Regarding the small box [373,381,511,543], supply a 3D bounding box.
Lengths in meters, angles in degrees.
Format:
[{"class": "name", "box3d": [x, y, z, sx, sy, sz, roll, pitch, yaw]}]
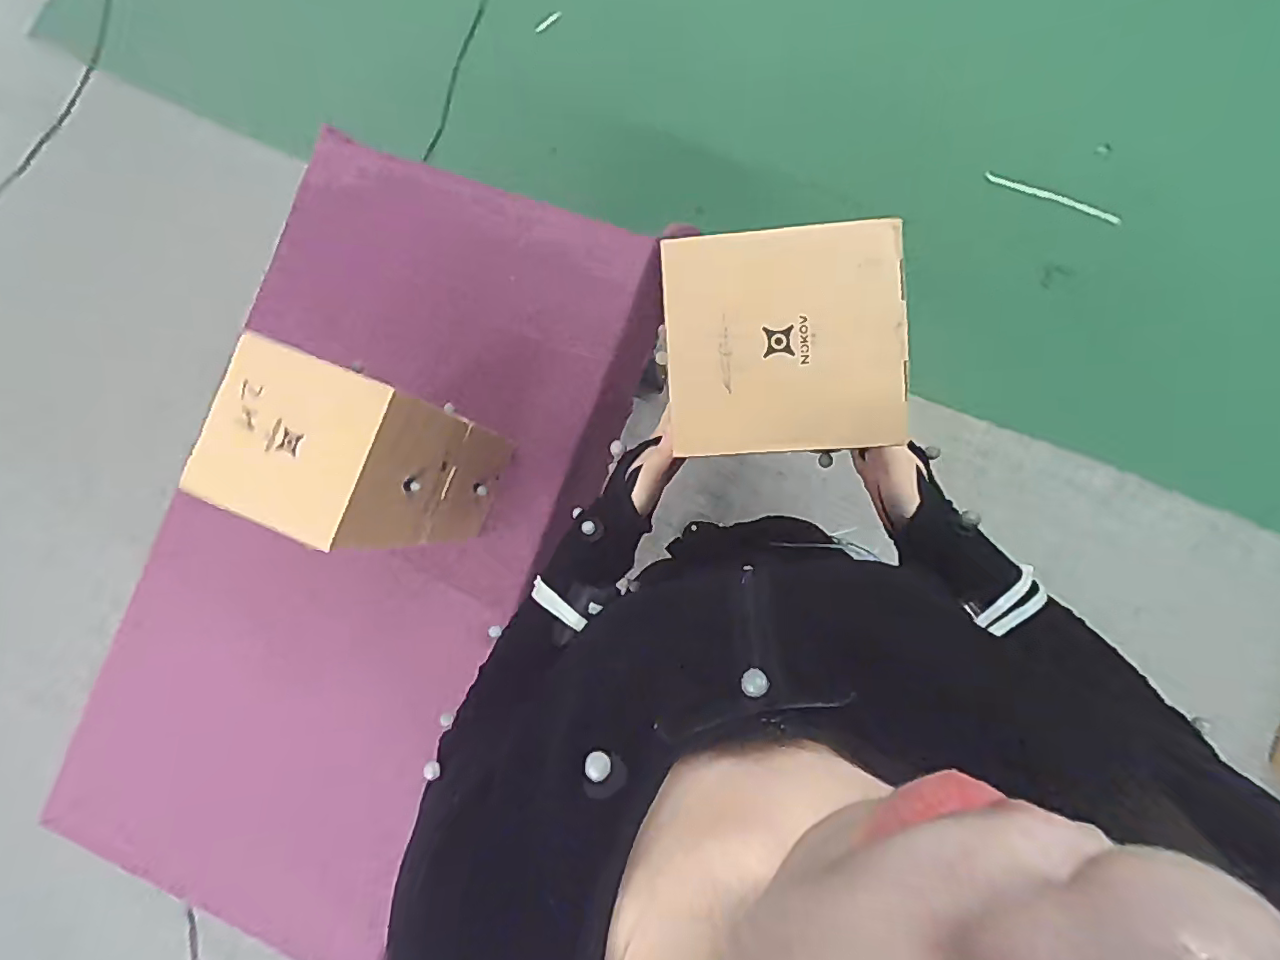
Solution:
[{"class": "small box", "box3d": [-0.306, -0.022, 0.760, 0.179, 0.176, 0.168, 21, 88, 7]}]

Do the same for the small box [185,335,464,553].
[{"class": "small box", "box3d": [-0.325, -0.032, 0.596, 0.179, 0.176, 0.168, 21, 88, 8]}]

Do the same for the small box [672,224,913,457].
[{"class": "small box", "box3d": [0.119, -0.106, 0.481, 0.179, 0.176, 0.168, -2, 92, 6]}]
